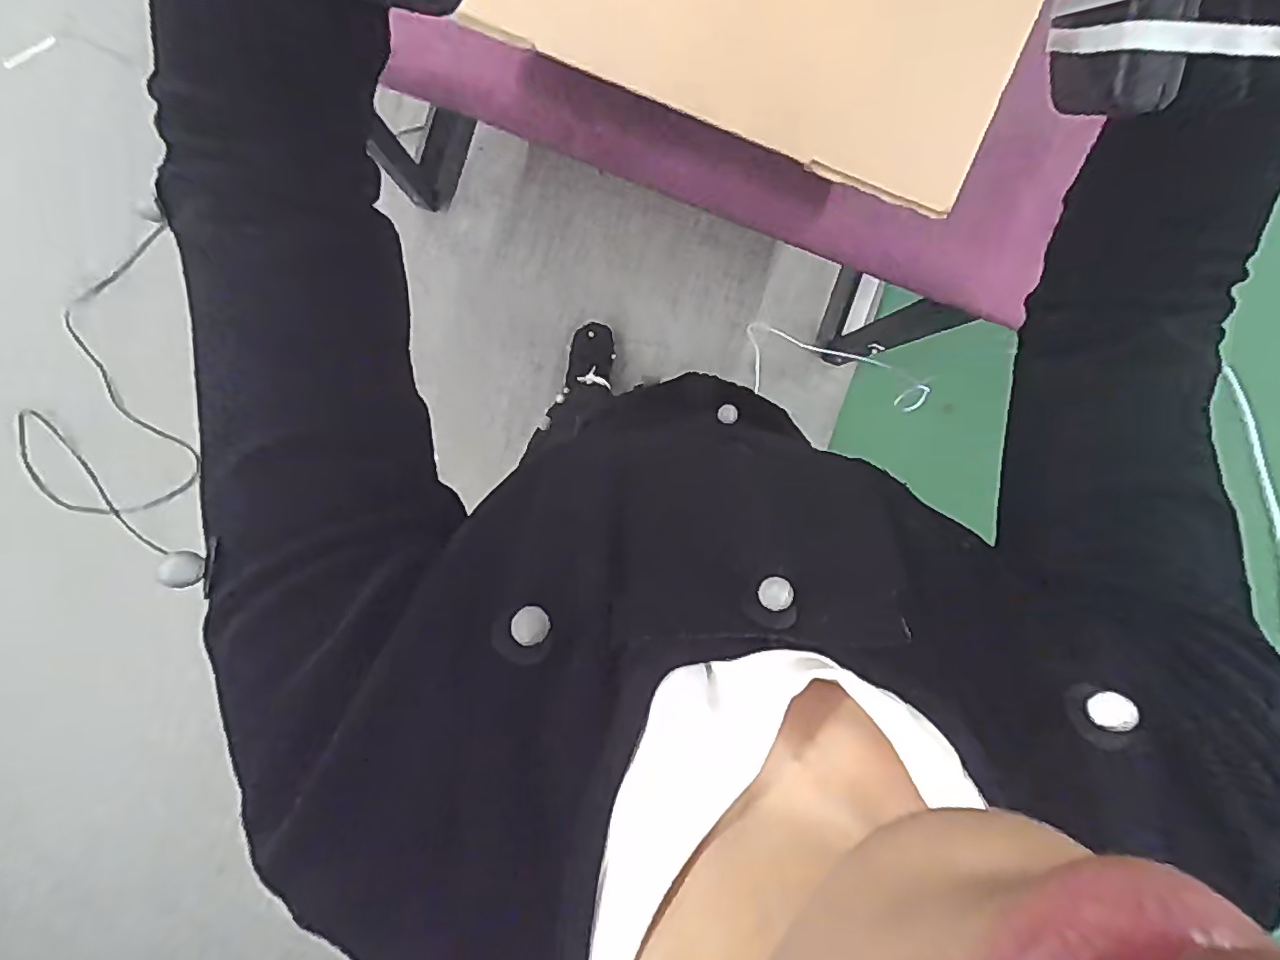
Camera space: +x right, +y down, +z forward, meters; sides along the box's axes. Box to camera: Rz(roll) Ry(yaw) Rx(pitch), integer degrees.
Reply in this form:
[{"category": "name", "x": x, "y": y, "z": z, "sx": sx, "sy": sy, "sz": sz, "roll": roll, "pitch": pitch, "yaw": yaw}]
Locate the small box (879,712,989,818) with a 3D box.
[{"category": "small box", "x": 0.784, "y": 0.759, "z": 1.462, "sx": 0.179, "sy": 0.176, "sz": 0.168, "roll": 21, "pitch": 94, "yaw": -4}]
